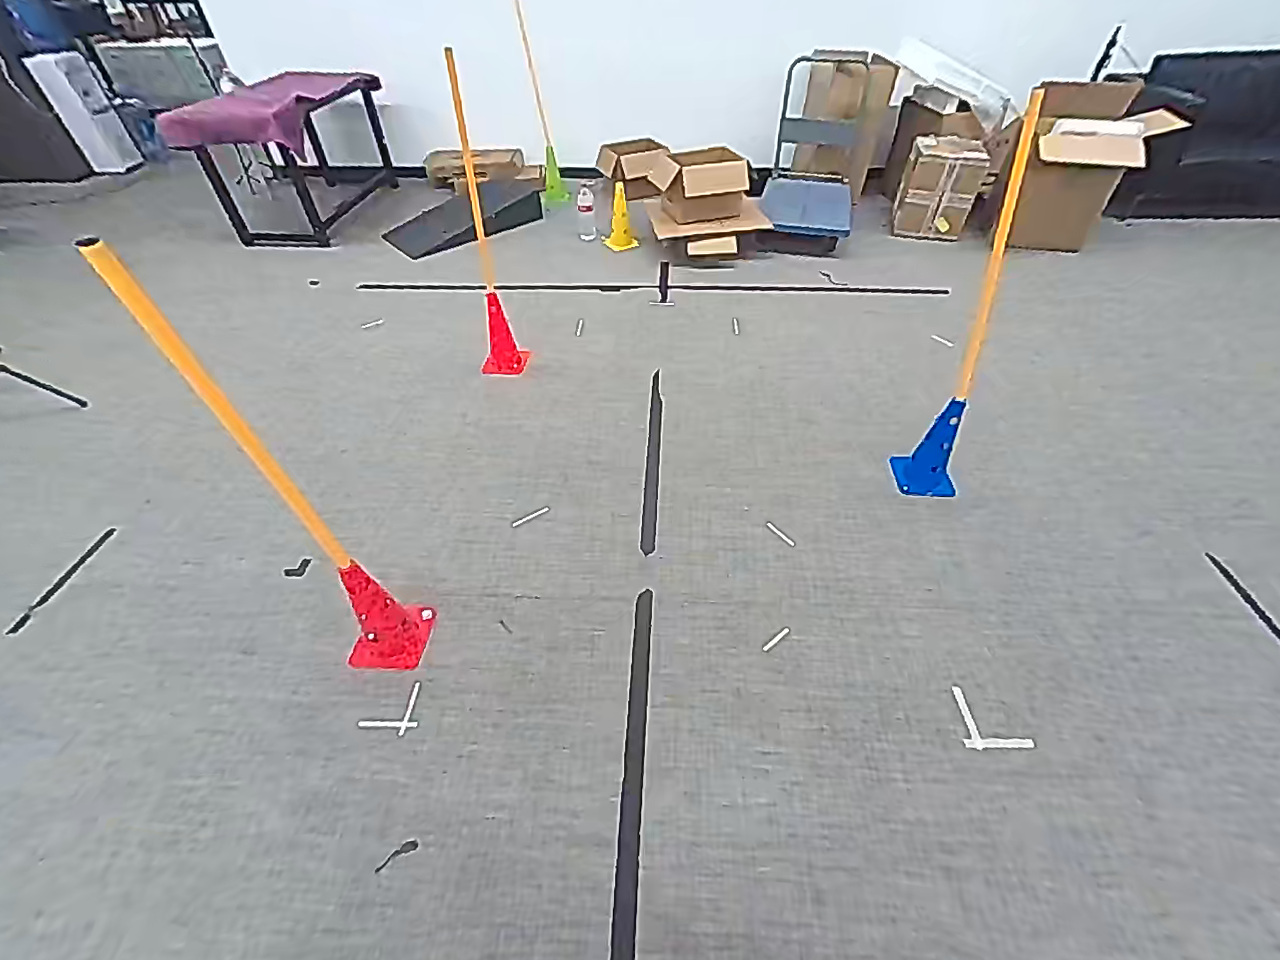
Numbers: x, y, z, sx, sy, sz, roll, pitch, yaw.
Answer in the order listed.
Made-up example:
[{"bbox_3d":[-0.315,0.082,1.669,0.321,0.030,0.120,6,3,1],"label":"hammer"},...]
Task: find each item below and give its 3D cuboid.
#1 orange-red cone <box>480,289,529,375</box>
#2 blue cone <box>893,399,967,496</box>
[{"bbox_3d":[-0.638,-0.678,2.420,0.198,0.360,0.199,4,45,4],"label":"orange-red cone"},{"bbox_3d":[1.044,-0.131,1.888,0.193,0.380,0.192,4,46,5],"label":"blue cone"}]
